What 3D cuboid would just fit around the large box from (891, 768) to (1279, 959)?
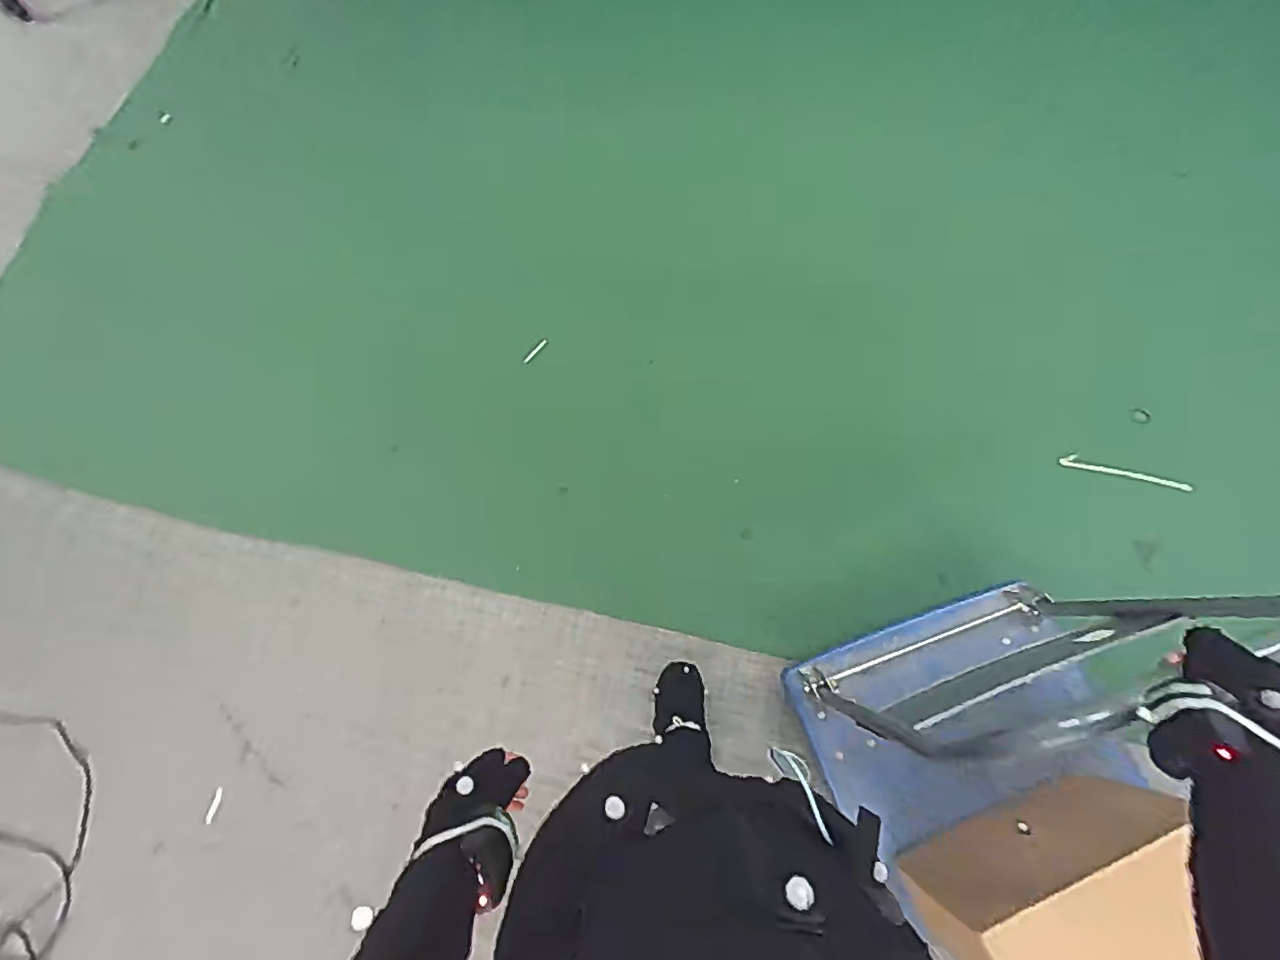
[{"bbox_3d":[0.700,0.718,0.850,0.408,0.320,0.320,-23,73,-6],"label":"large box"}]
